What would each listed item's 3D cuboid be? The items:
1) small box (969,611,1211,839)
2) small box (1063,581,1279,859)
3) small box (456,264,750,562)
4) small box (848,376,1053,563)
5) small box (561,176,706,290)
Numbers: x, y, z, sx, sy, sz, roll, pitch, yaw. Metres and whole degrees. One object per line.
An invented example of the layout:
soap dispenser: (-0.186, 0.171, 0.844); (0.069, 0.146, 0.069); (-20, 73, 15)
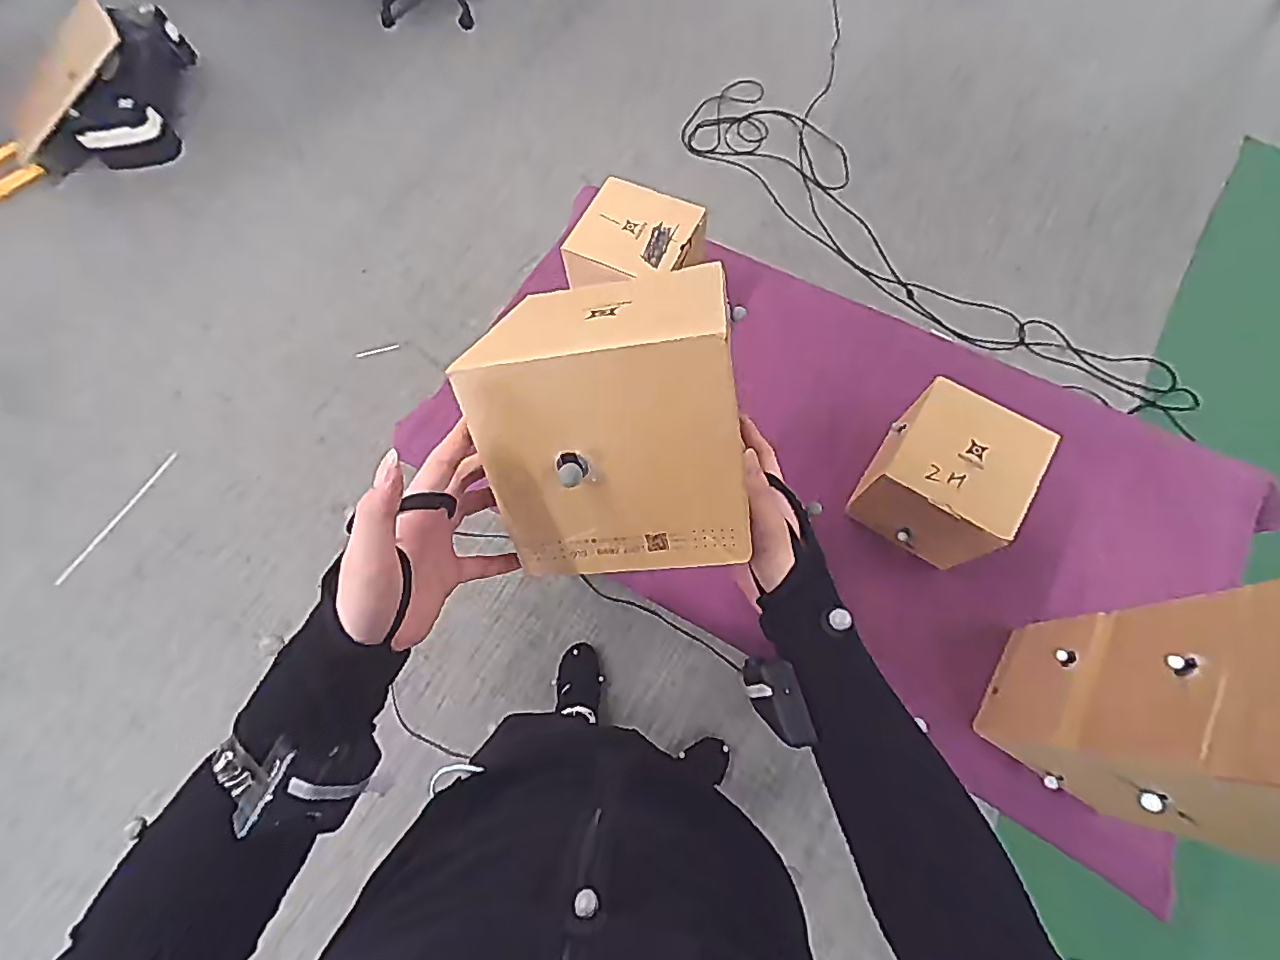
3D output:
small box: (0.554, 0.283, 0.659); (0.179, 0.176, 0.168); (32, 73, 13)
small box: (0.552, 0.224, 0.507); (0.168, 0.176, 0.179); (32, 74, 14)
small box: (-0.008, -0.050, 0.417); (0.168, 0.176, 0.179); (-5, 31, 10)
small box: (0.425, -0.007, 0.770); (0.168, 0.176, 0.179); (33, 75, 13)
small box: (-0.006, -0.361, 0.911); (0.179, 0.176, 0.168); (25, 73, 11)
